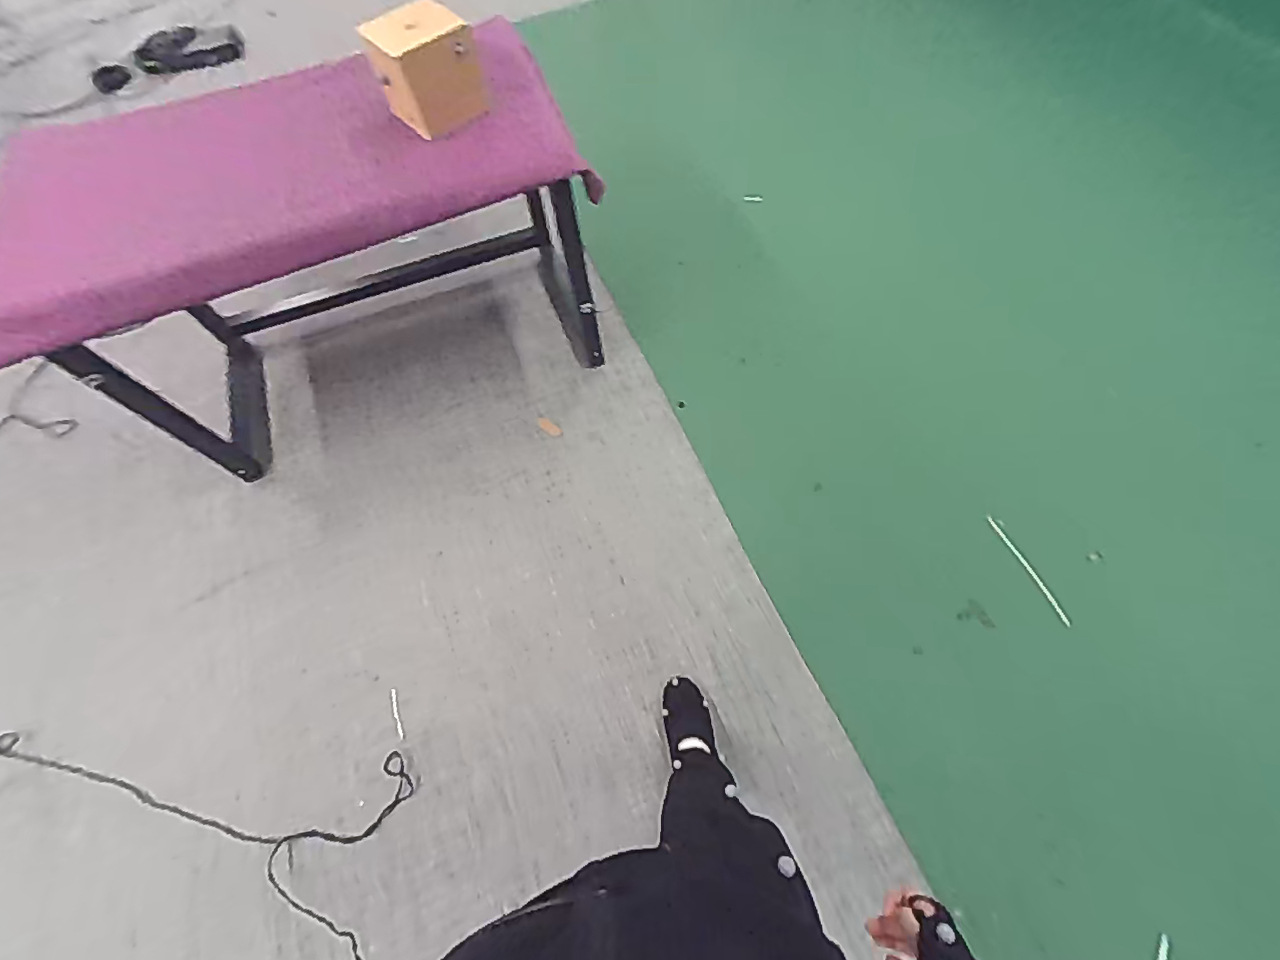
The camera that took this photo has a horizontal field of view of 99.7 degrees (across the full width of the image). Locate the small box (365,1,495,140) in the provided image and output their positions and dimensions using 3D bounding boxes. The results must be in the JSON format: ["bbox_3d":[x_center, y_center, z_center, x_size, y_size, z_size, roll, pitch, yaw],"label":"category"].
[{"bbox_3d":[-0.445,-0.879,1.170,0.179,0.176,0.168,-38,67,-16],"label":"small box"}]
